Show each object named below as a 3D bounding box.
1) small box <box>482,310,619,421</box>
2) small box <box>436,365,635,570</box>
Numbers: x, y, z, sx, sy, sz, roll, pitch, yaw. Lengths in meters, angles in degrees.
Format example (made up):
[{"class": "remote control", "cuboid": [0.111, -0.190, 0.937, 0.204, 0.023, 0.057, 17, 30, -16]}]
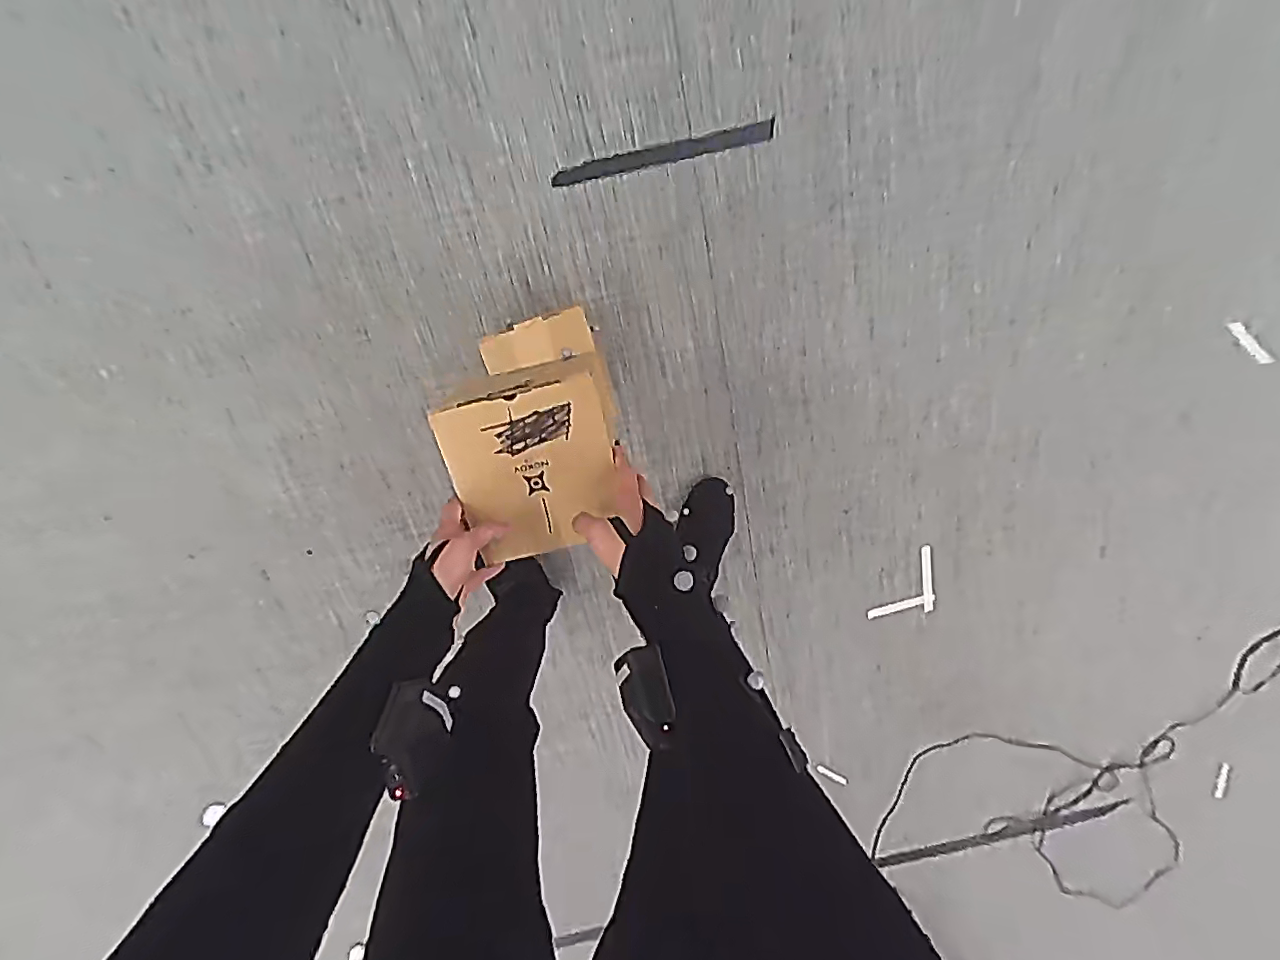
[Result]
[{"class": "small box", "cuboid": [-0.143, -0.174, 0.899, 0.168, 0.176, 0.179, -18, 111, 1]}, {"class": "small box", "cuboid": [-0.107, -0.027, 0.620, 0.168, 0.176, 0.179, -12, 111, 2]}]
